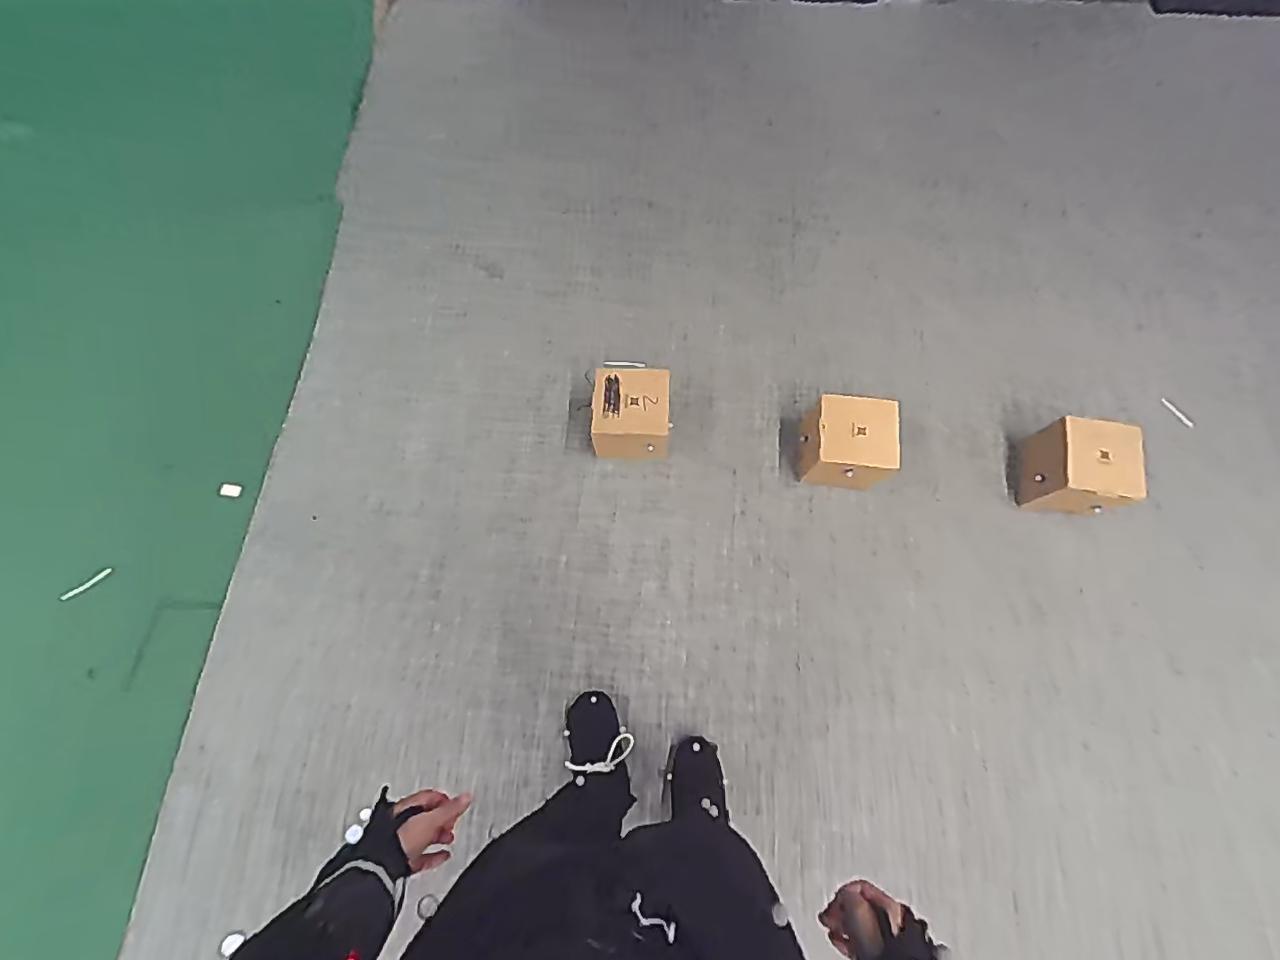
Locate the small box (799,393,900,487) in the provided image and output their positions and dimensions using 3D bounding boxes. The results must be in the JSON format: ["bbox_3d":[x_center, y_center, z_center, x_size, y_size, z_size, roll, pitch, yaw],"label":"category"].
[{"bbox_3d":[0.487,-0.087,1.271,0.179,0.176,0.168,6,73,3],"label":"small box"}]

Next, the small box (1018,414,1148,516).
[{"bbox_3d":[1.007,-0.027,1.244,0.168,0.176,0.179,10,72,3],"label":"small box"}]
